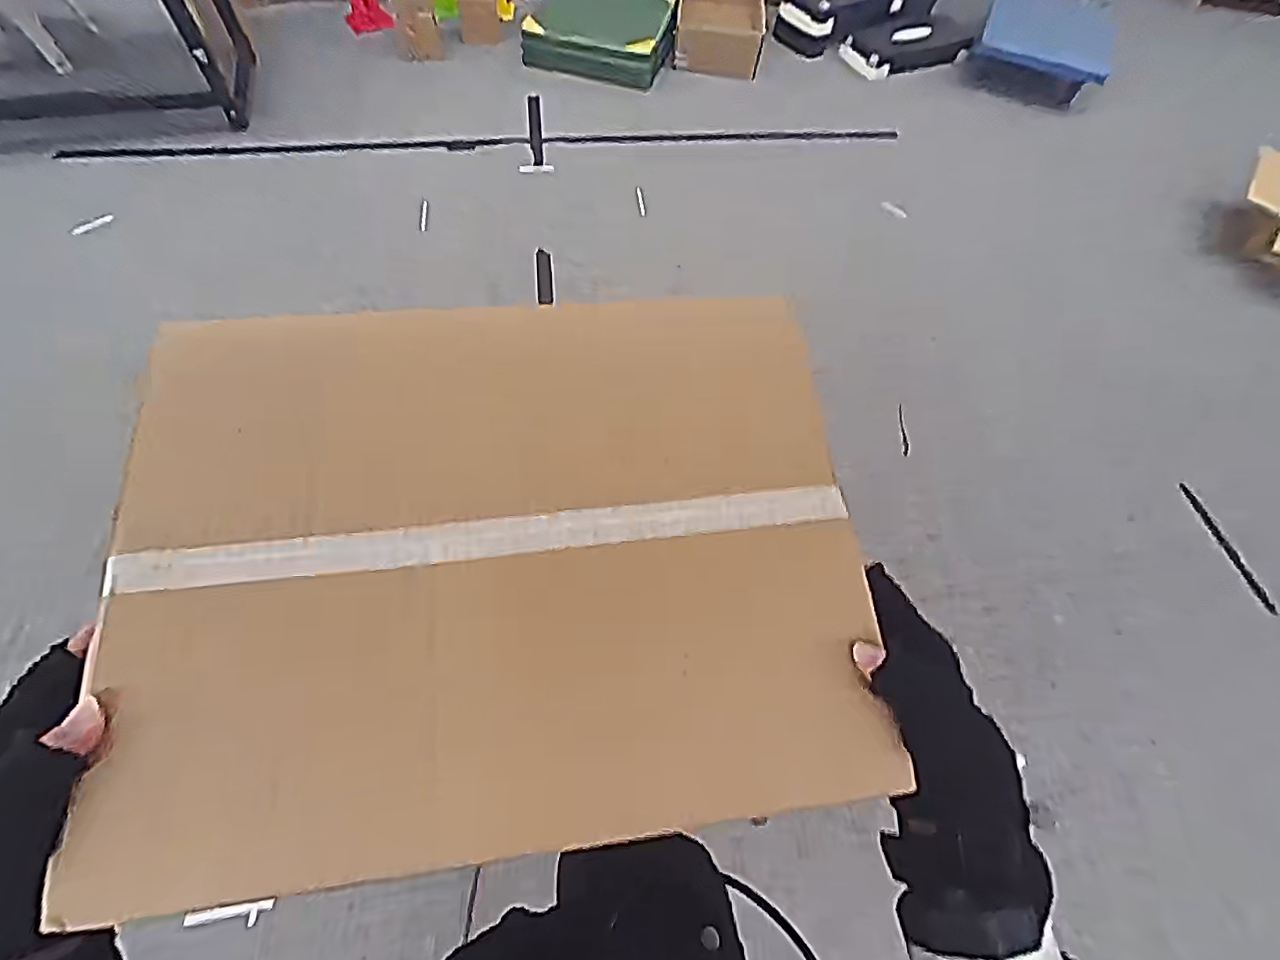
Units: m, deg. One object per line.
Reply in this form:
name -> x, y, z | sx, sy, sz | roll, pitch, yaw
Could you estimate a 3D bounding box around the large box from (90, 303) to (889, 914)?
large box -> -0.087, 0.084, 0.457 | 0.408, 0.320, 0.320 | -5, 70, -7
